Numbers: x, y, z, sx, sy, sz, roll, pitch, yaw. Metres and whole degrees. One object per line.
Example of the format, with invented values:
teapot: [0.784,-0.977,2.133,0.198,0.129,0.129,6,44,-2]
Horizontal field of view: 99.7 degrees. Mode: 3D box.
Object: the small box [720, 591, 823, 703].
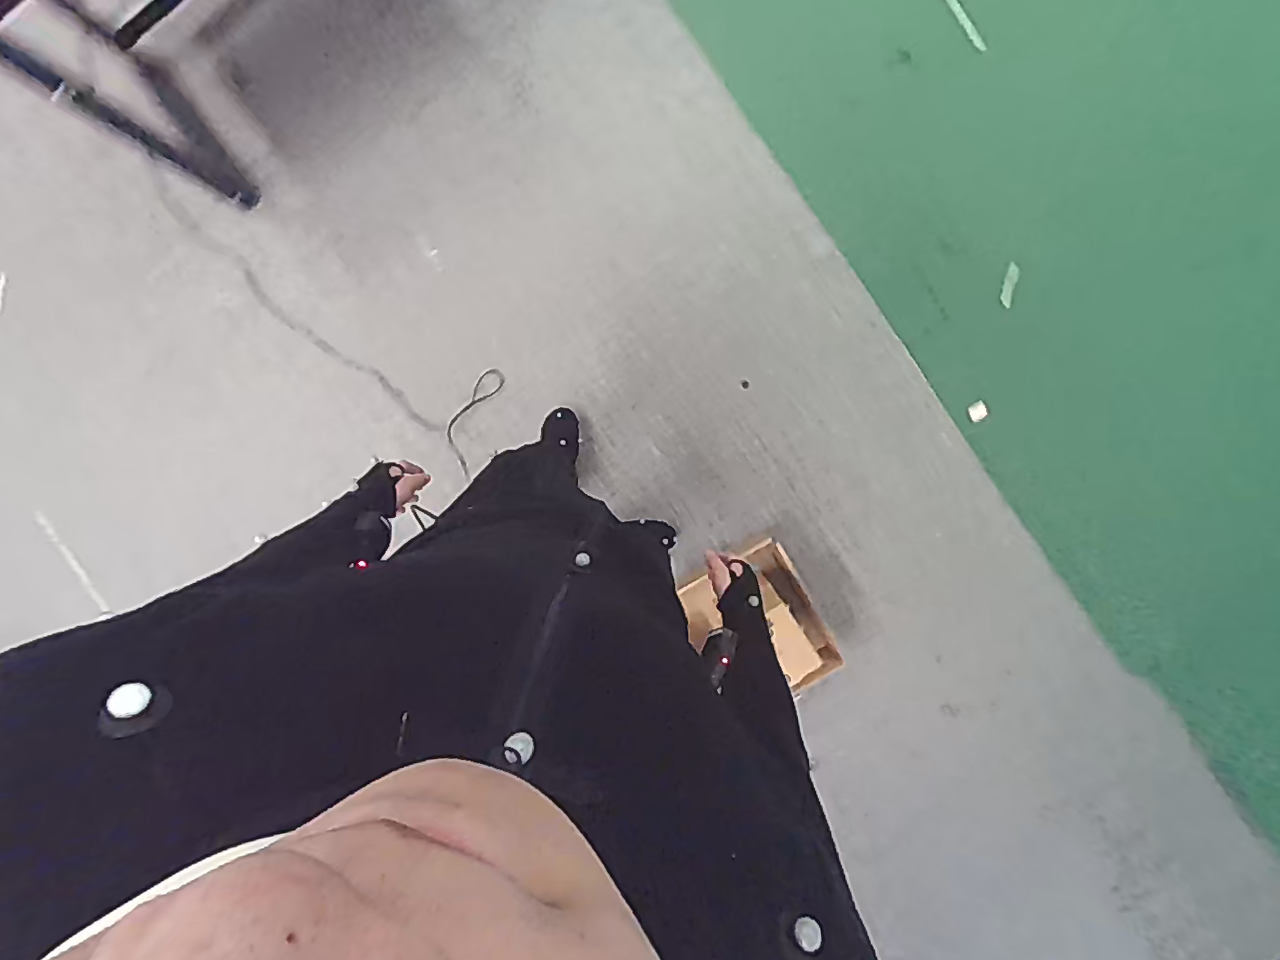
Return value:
small box: [0.312,0.400,1.322,0.168,0.176,0.179,-32,91,3]
